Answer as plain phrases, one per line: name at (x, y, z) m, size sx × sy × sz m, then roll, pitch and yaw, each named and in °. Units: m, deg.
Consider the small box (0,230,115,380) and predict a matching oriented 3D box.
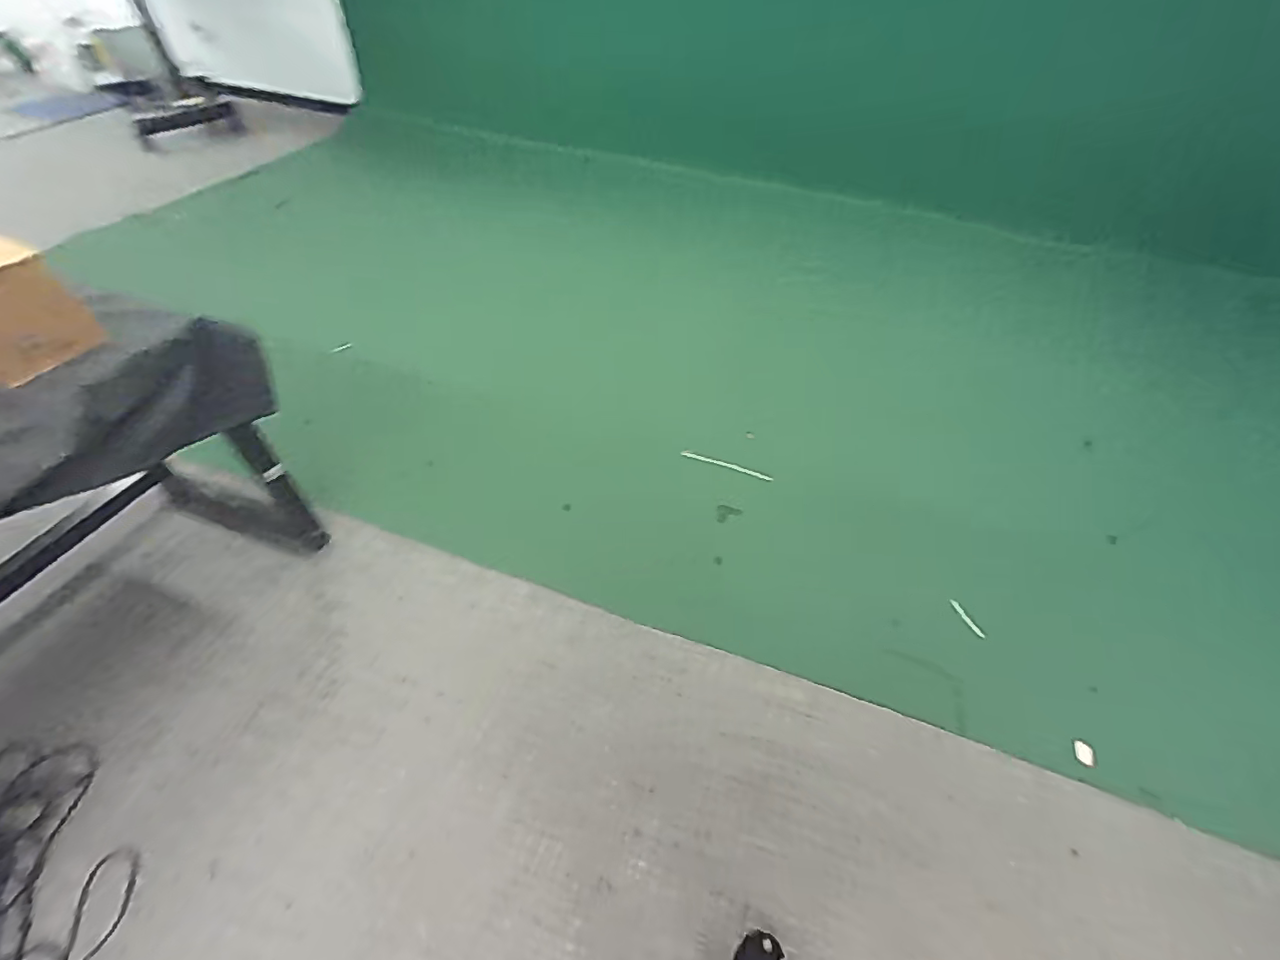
small box at (-1.061, -0.292, 0.902) m, size 0.179 × 0.176 × 0.168 m, roll 21°, pitch 51°, yaw 14°
